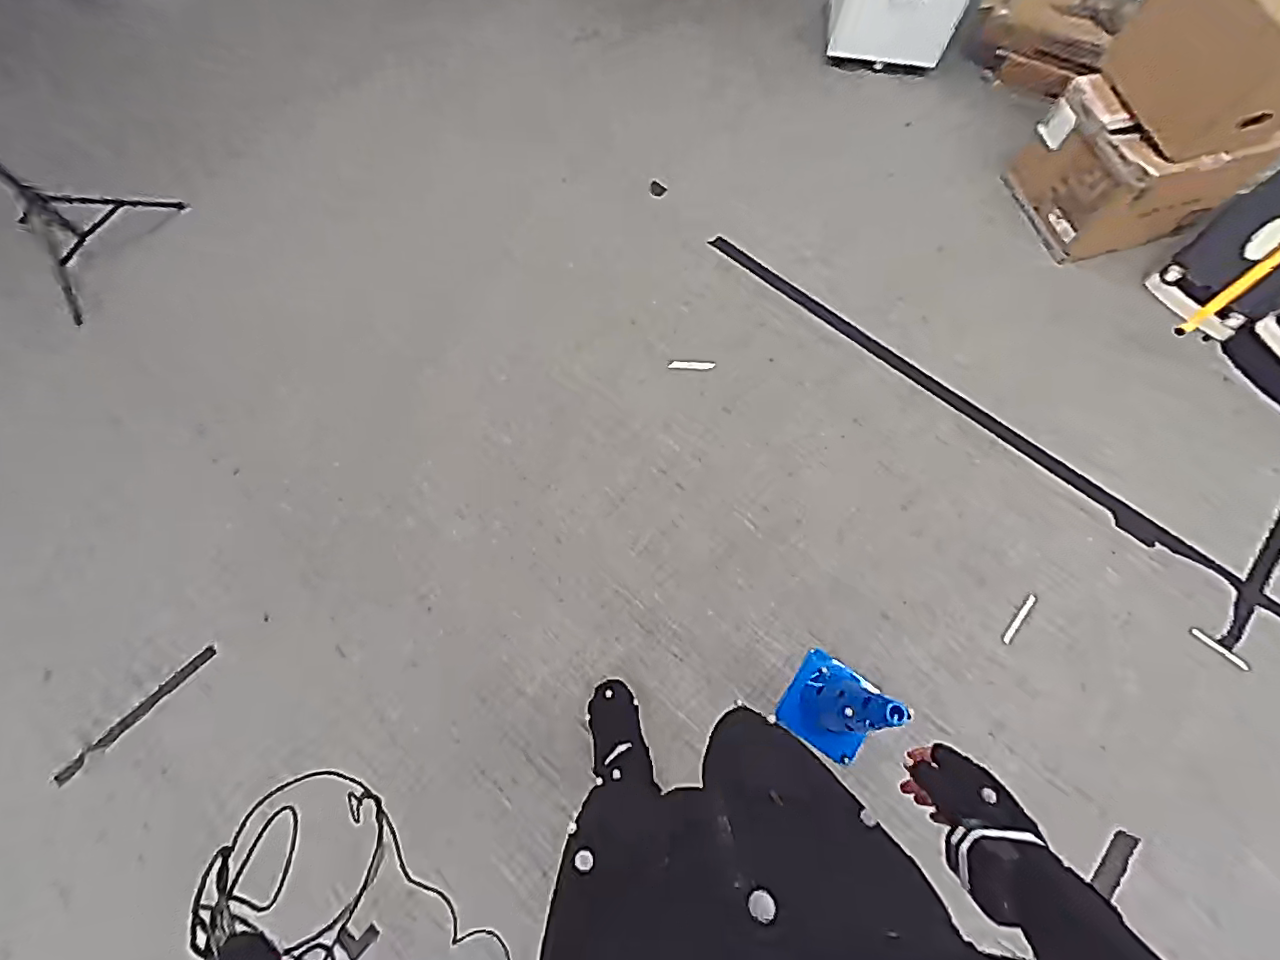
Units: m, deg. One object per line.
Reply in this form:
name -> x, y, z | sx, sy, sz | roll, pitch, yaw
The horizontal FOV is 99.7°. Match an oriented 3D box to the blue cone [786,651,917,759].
blue cone -> 0.457, 0.470, 1.123 | 0.192, 0.380, 0.193 | 35, 73, 11
